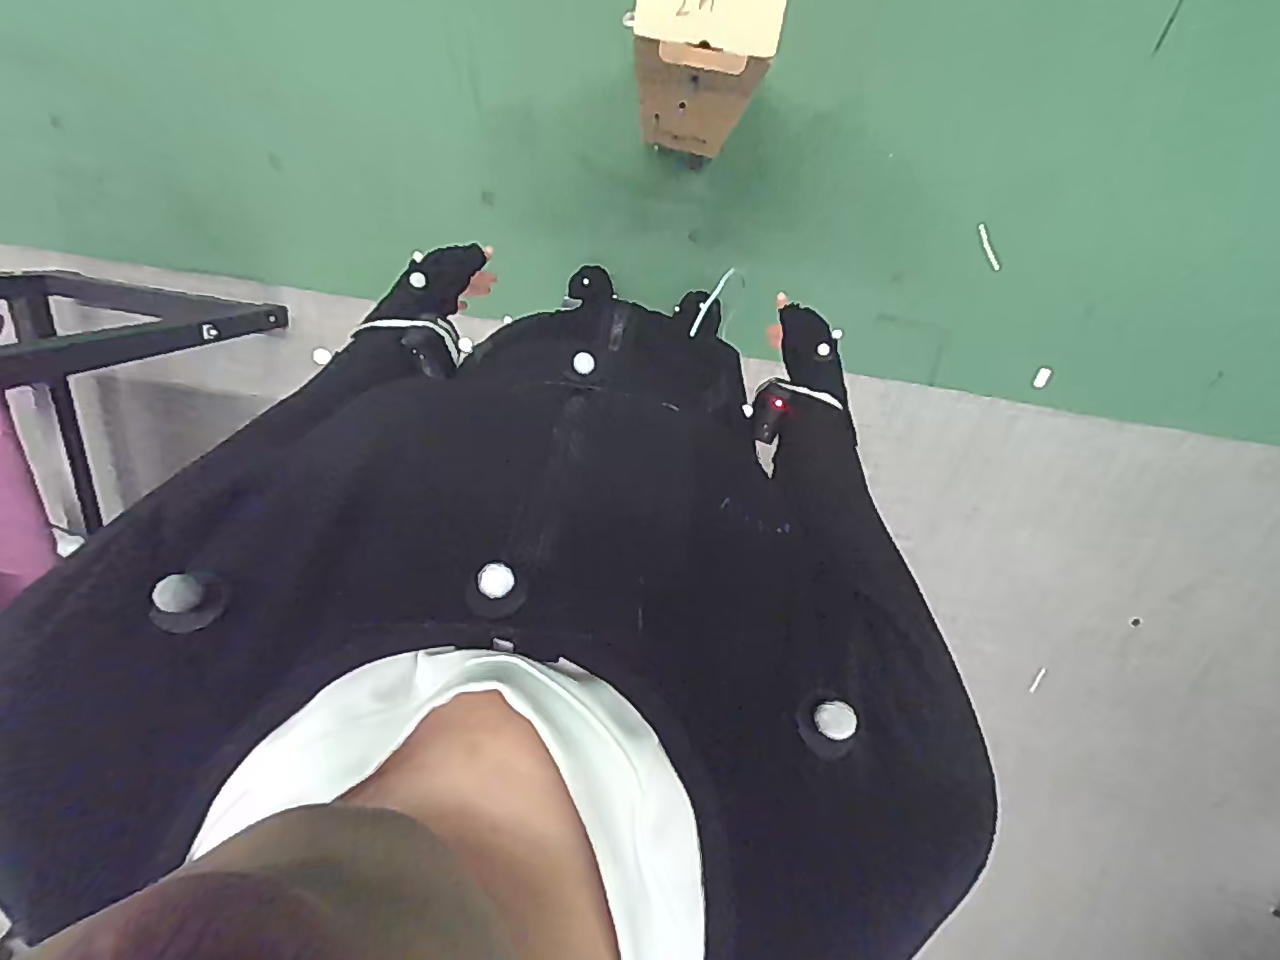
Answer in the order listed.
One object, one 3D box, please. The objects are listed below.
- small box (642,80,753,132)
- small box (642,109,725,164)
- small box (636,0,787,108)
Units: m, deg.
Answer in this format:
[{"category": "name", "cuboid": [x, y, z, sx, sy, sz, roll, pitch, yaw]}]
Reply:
[{"category": "small box", "cuboid": [0.096, -0.659, 0.819, 0.168, 0.176, 0.179, 9, 112, -3]}, {"category": "small box", "cuboid": [0.103, -0.780, 1.123, 0.168, 0.176, 0.179, 11, 112, -3]}, {"category": "small box", "cuboid": [0.088, -0.595, 0.667, 0.168, 0.176, 0.179, 9, 112, -2]}]
